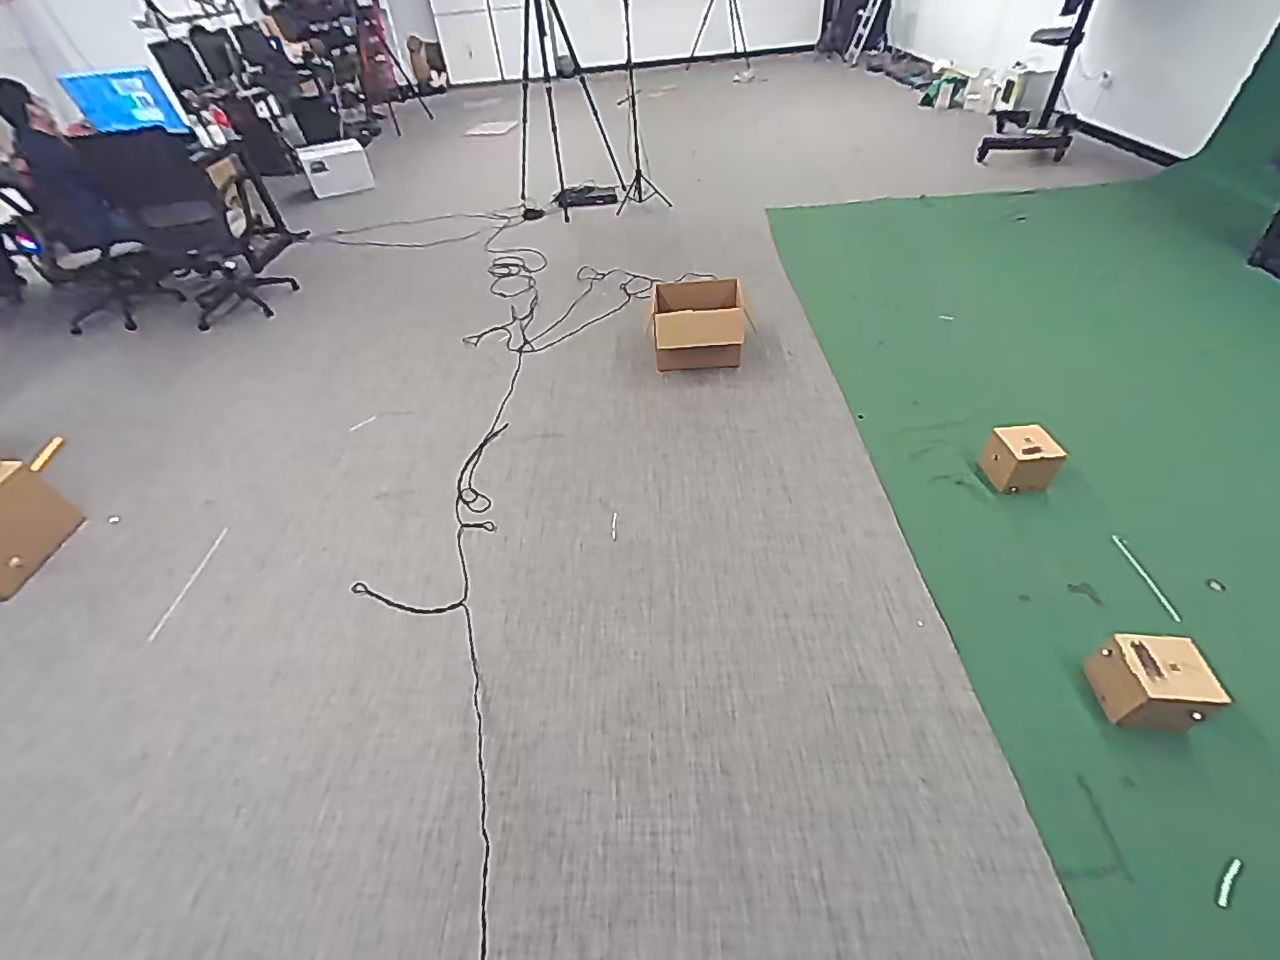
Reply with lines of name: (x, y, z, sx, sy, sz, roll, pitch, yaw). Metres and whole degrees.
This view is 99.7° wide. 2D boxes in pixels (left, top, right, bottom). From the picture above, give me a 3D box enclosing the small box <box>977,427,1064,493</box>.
small box: (1.349, -0.067, 1.930, 0.168, 0.176, 0.179, -5, 43, 1)
